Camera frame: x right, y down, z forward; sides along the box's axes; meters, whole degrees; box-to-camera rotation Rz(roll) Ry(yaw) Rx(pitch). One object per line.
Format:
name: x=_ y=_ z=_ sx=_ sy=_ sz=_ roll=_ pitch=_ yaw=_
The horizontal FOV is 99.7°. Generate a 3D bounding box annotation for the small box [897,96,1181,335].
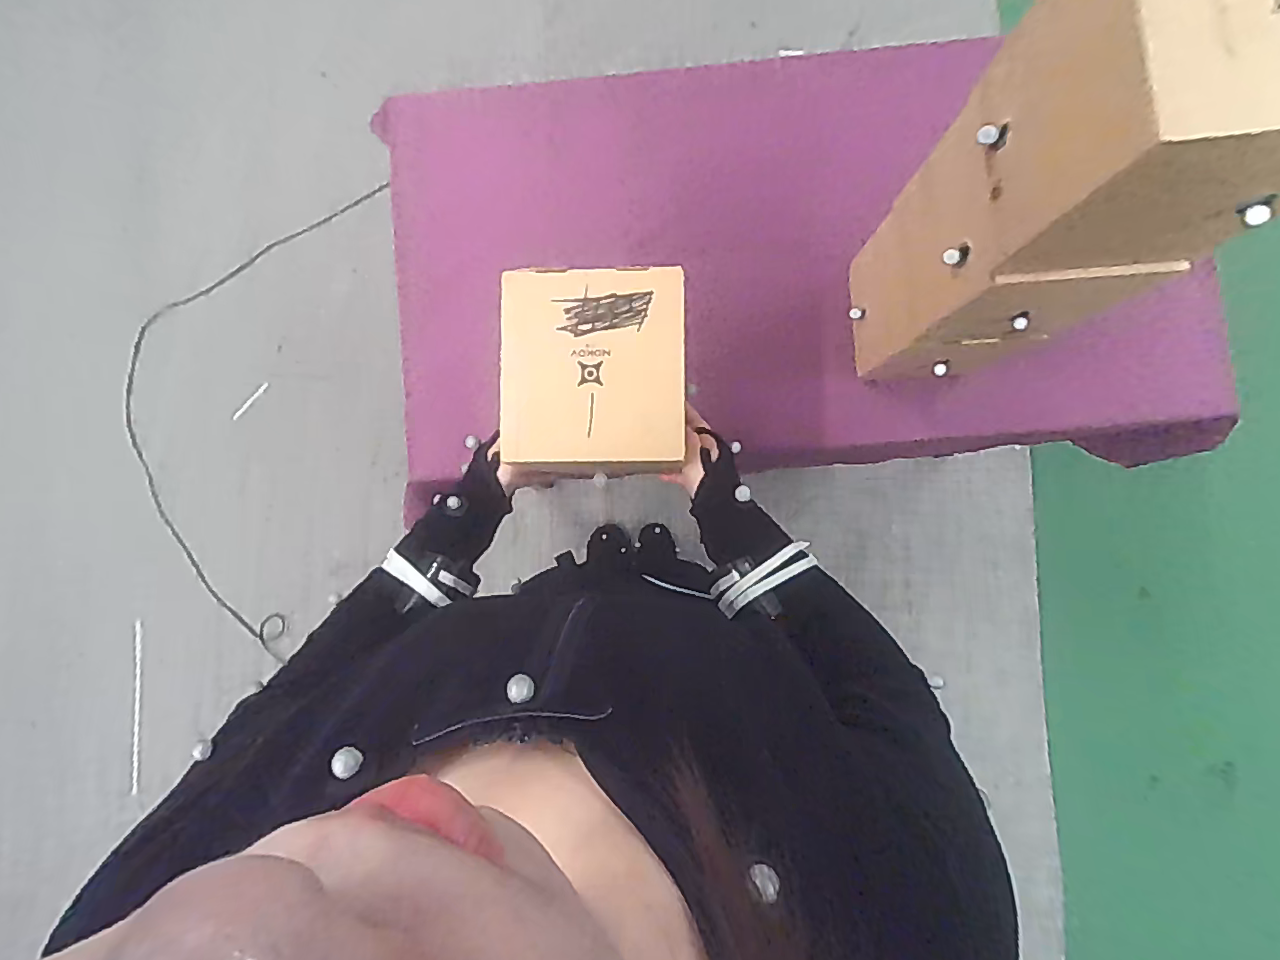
small box: x=0.385 y=-0.255 z=0.554 sx=0.168 sy=0.176 sz=0.179 roll=-3 pitch=87 yaw=1

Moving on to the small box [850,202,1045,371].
small box: x=0.393 y=-0.247 z=0.718 sx=0.168 sy=0.176 sz=0.179 roll=-3 pitch=88 yaw=1

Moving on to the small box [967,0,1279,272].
small box: x=0.376 y=-0.269 z=0.391 sx=0.179 sy=0.176 sz=0.168 roll=-3 pitch=86 yaw=2

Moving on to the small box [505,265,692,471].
small box: x=-0.034 y=-0.102 z=0.559 sx=0.168 sy=0.176 sz=0.179 roll=0 pitch=89 yaw=3
